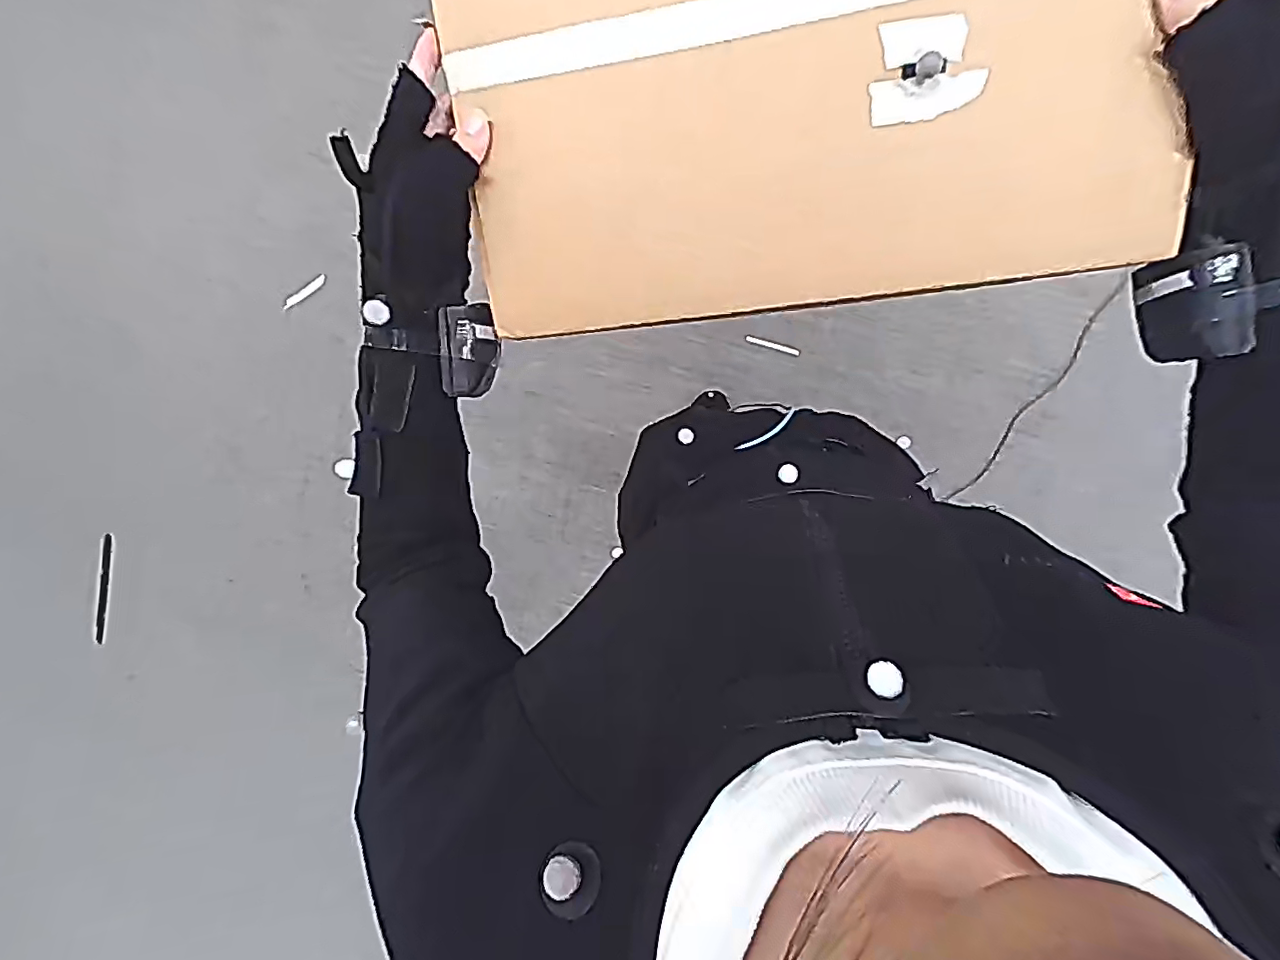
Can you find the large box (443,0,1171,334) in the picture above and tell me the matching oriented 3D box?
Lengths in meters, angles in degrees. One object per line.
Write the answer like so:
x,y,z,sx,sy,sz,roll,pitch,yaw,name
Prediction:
0.097,-0.310,0.449,0.408,0.320,0.320,-5,106,9,large box
